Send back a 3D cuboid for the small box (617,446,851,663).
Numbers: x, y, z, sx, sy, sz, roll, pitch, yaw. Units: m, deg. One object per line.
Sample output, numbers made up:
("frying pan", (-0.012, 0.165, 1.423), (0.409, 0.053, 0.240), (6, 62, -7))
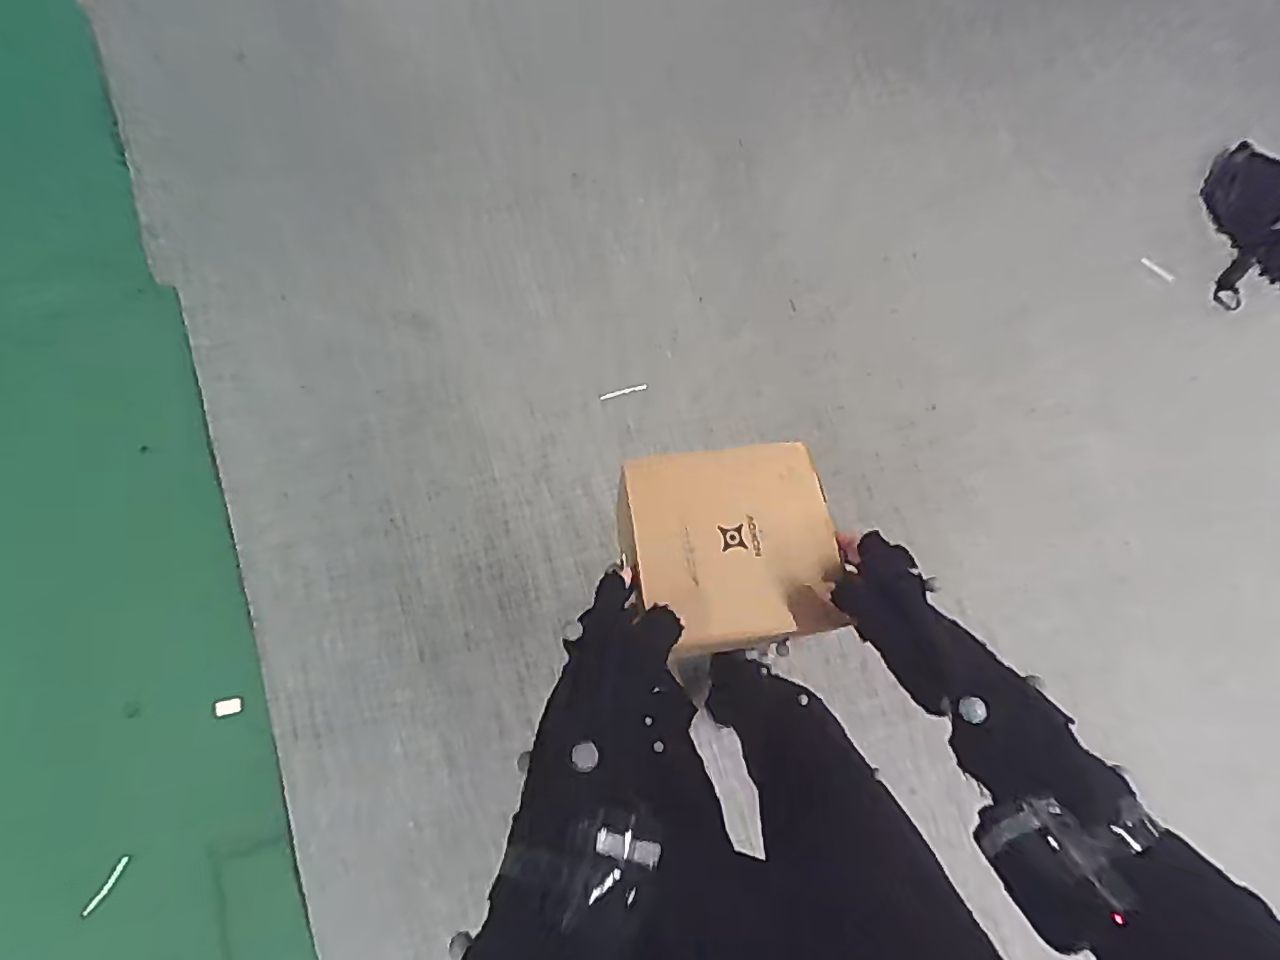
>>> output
("small box", (0.074, 0.082, 0.539), (0.179, 0.176, 0.168), (-7, 68, -6))
